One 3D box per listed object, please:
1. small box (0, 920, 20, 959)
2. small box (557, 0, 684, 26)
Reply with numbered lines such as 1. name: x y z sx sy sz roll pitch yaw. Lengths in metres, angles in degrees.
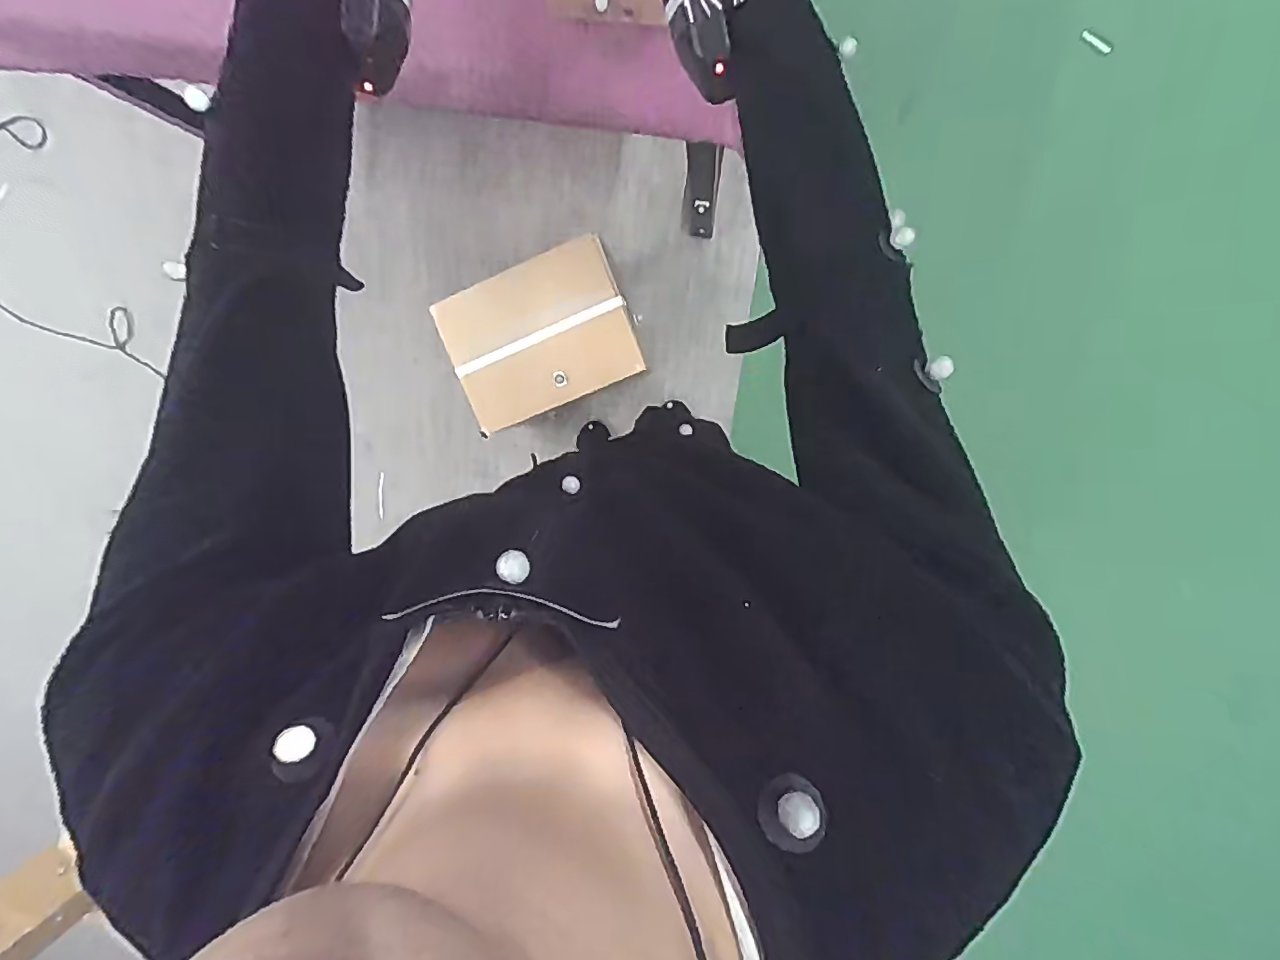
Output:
1. small box: -1.713 1.219 1.336 0.168 0.176 0.179 27 101 1
2. small box: -0.024 -0.647 0.581 0.168 0.176 0.179 9 100 5
